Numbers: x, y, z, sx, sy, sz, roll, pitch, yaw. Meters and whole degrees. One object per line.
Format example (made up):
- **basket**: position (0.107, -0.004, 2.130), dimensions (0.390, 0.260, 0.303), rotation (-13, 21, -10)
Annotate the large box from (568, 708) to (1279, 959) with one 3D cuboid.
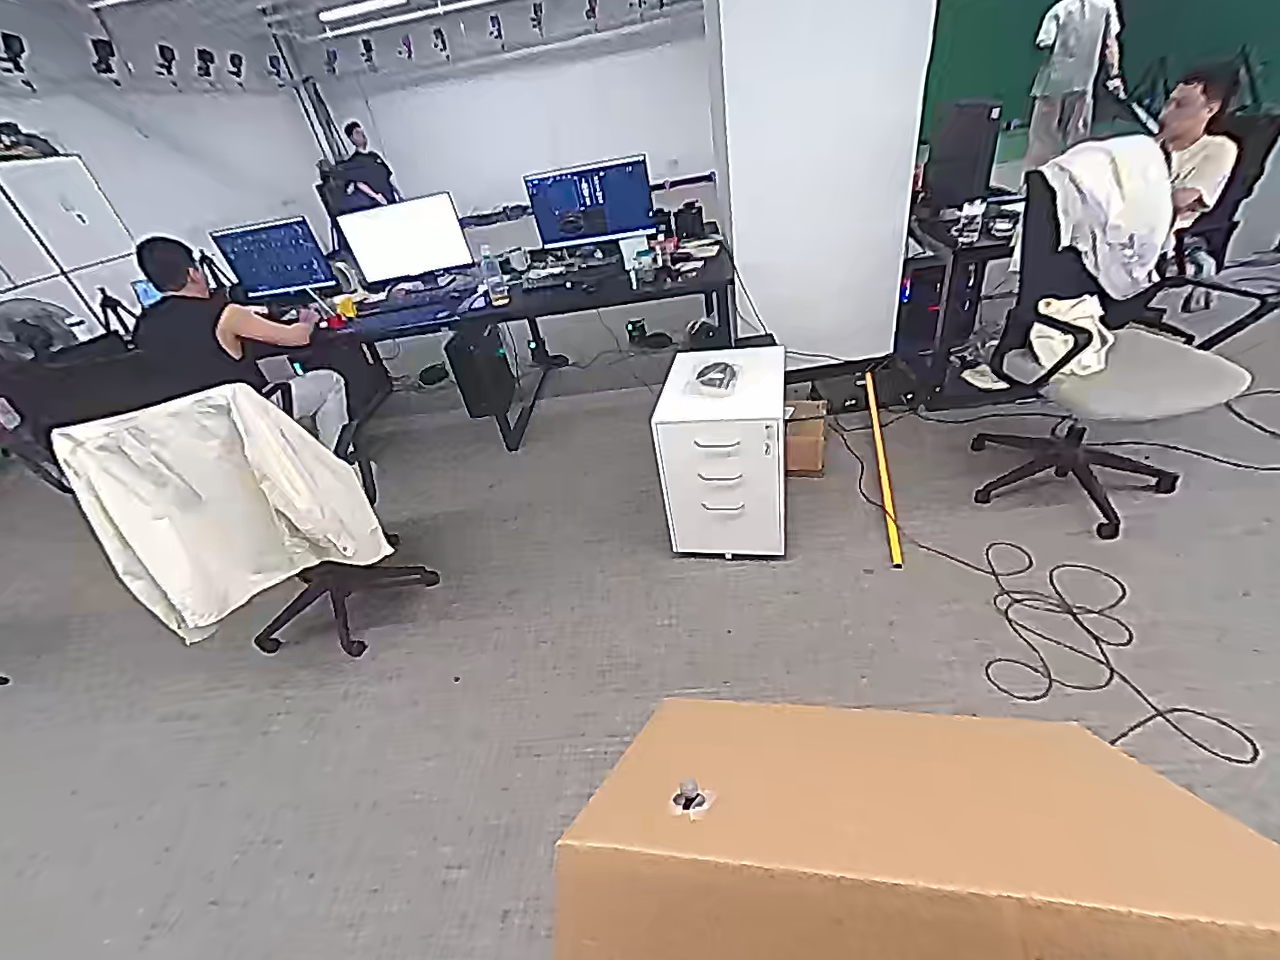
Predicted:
- **large box**: position (0.188, 0.375, 0.403), dimensions (0.408, 0.320, 0.320), rotation (-3, -7, 14)
